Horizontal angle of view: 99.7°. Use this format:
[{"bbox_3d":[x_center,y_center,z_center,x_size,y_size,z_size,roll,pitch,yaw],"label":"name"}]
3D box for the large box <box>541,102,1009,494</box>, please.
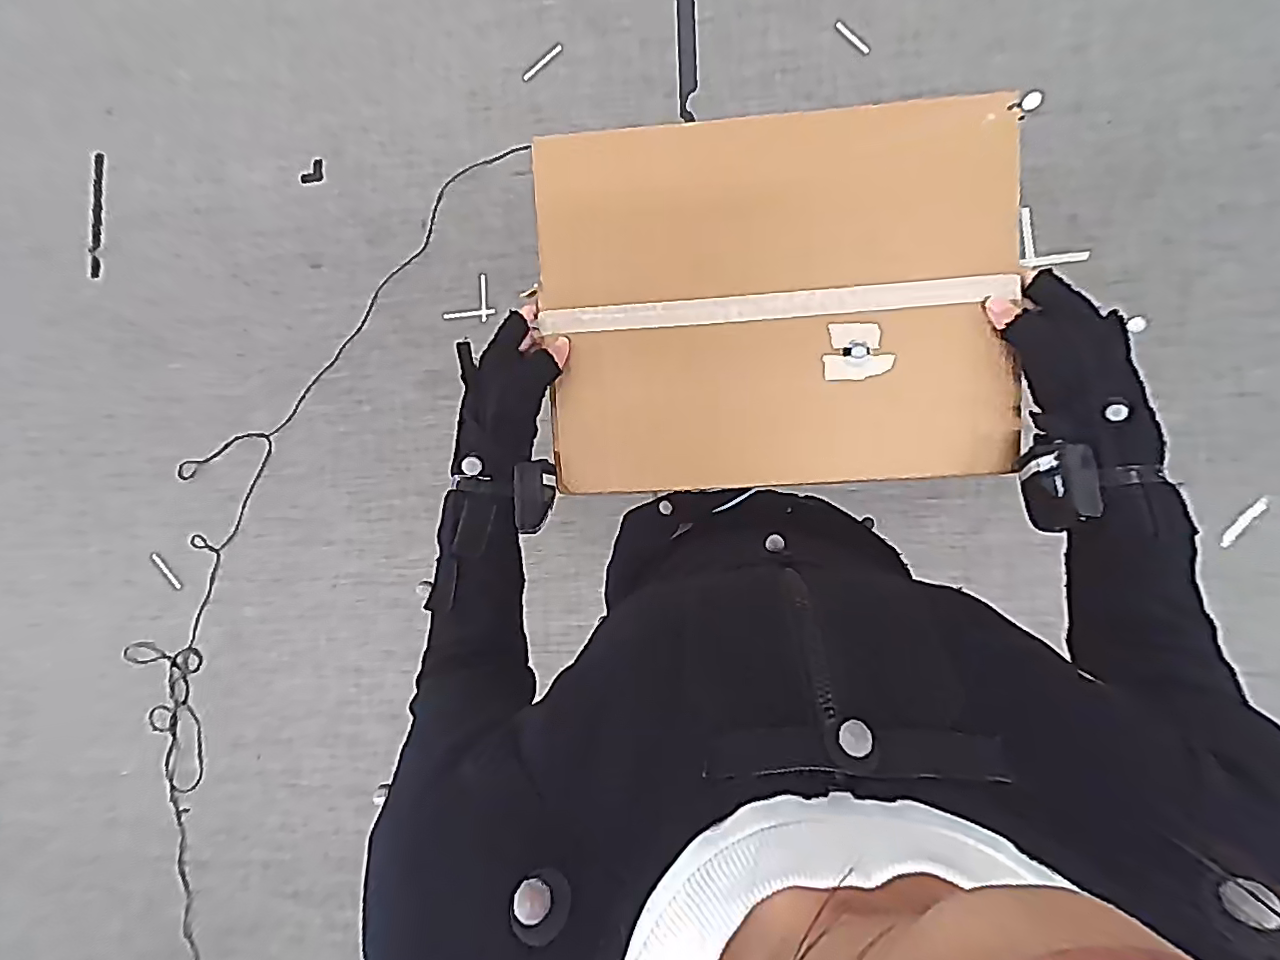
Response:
[{"bbox_3d":[0.126,-0.166,0.628,0.408,0.320,0.320,-4,95,3],"label":"large box"}]
